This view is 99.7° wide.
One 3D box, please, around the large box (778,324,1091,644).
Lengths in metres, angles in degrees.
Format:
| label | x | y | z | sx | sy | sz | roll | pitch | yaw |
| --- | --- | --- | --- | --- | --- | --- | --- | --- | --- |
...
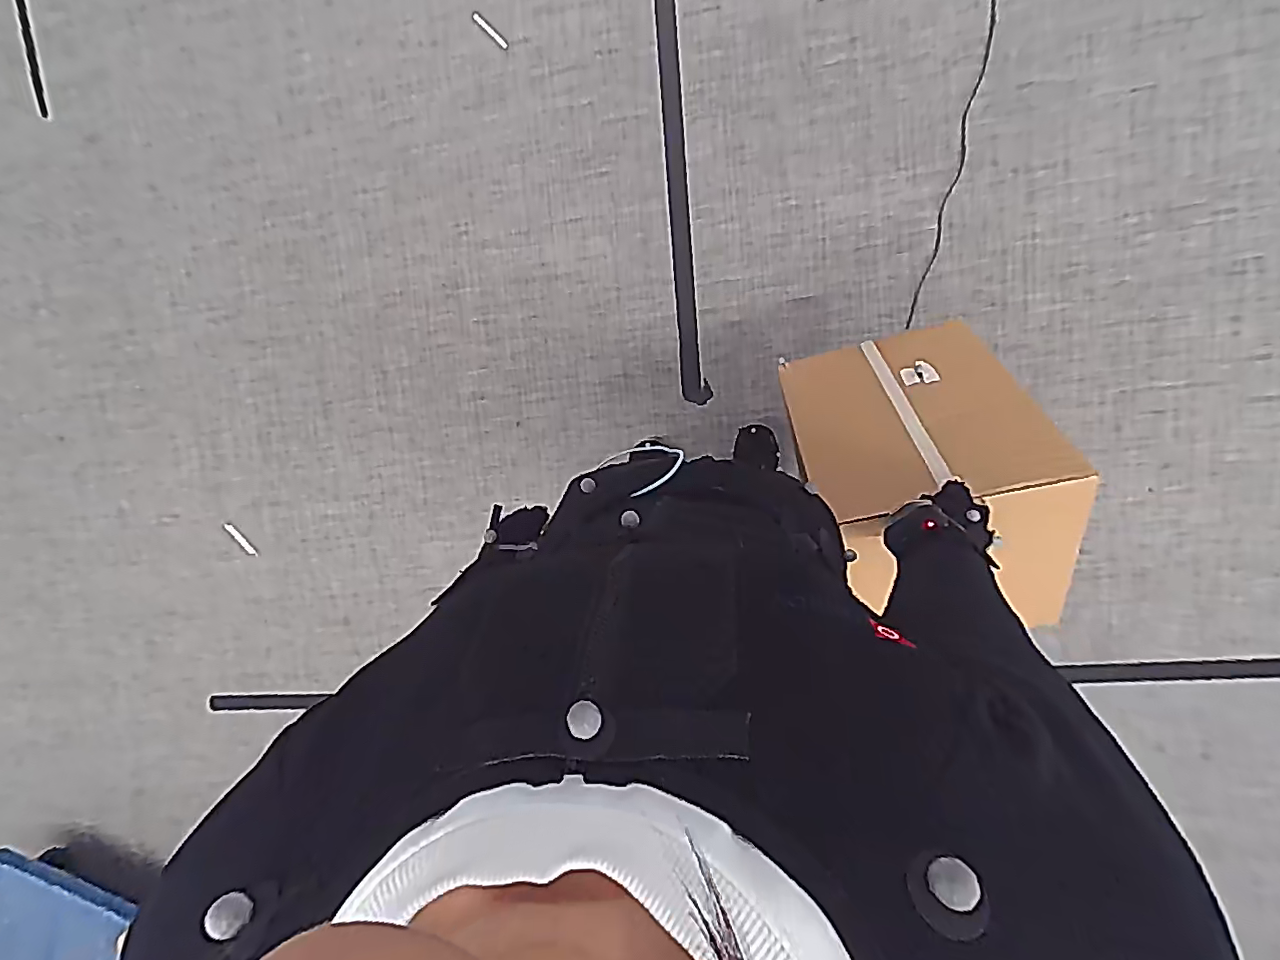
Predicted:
| label | x | y | z | sx | sy | sz | roll | pitch | yaw |
| --- | --- | --- | --- | --- | --- | --- | --- | --- | --- |
| large box | 0.445 | 0.002 | 0.908 | 0.320 | 0.408 | 0.320 | -13 | 129 | 13 |
